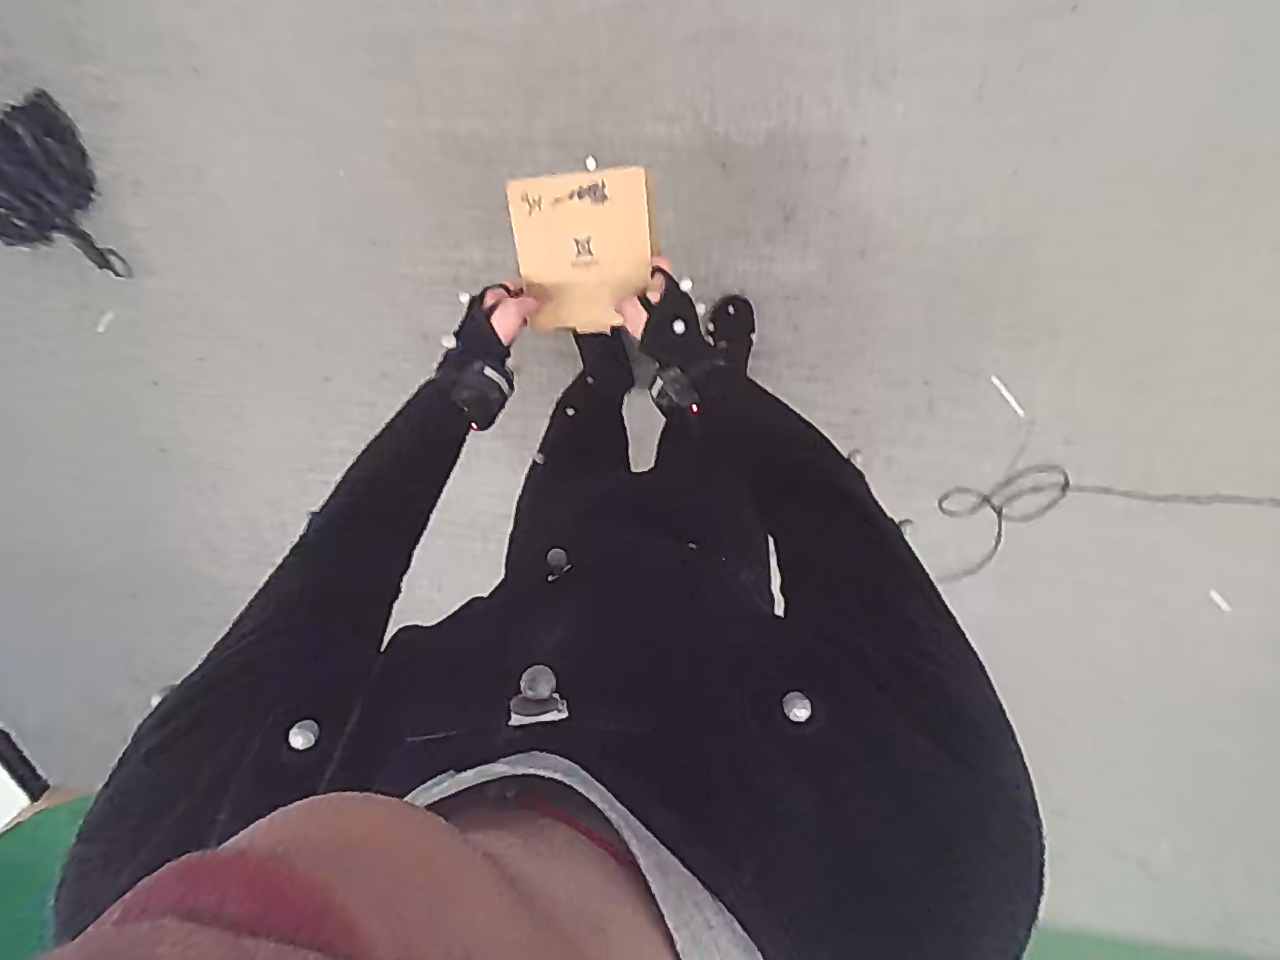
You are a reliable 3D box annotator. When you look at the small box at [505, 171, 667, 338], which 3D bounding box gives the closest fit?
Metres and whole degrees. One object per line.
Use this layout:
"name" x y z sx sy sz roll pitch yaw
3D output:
"small box" -0.056 -0.299 0.711 0.168 0.176 0.179 -2 118 8
